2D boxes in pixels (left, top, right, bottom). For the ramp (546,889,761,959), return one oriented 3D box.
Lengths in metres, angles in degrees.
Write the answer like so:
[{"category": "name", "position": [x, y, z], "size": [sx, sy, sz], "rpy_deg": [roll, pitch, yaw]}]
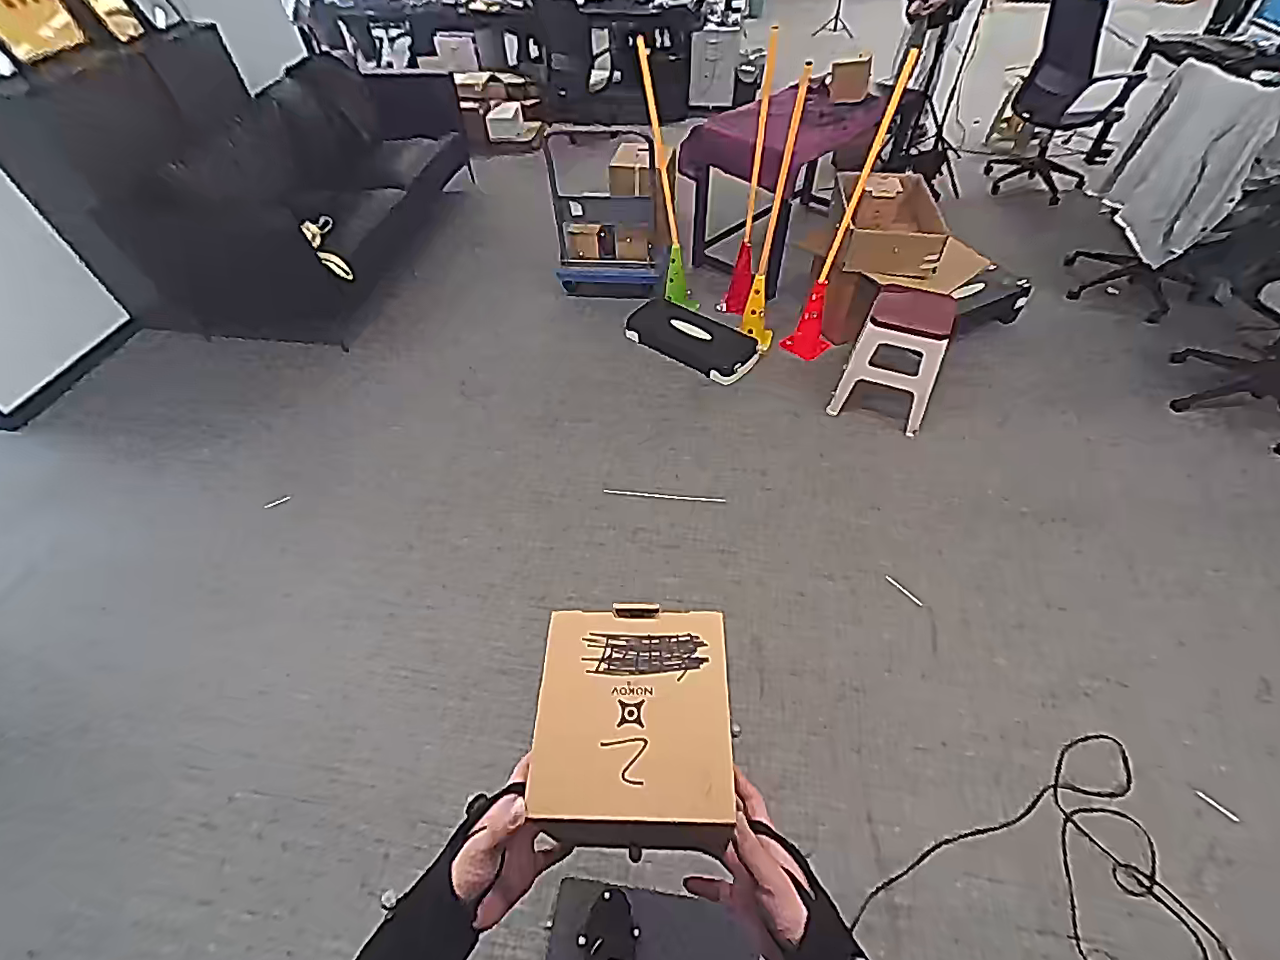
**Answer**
[{"category": "ramp", "position": [-0.023, 1.342, 0.933], "size": [0.509, 0.206, 0.991], "rpy_deg": [2, 49, 6]}]
